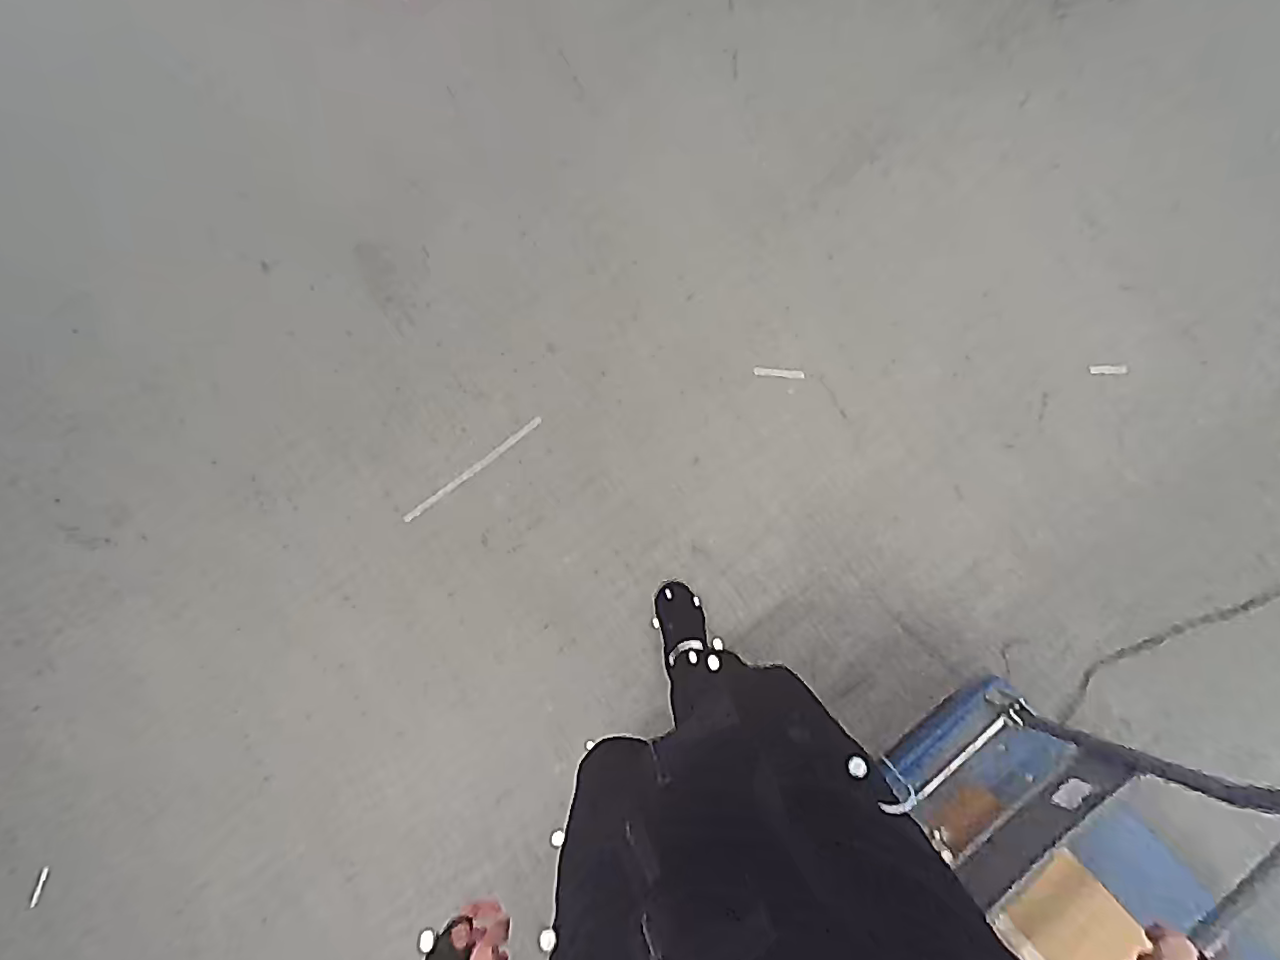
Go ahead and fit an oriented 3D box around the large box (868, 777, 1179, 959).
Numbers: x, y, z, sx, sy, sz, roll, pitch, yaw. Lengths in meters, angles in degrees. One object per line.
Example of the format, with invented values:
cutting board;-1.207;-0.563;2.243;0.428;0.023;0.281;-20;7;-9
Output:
large box;0.710;0.850;0.977;0.320;0.320;0.408;-41;80;-3
